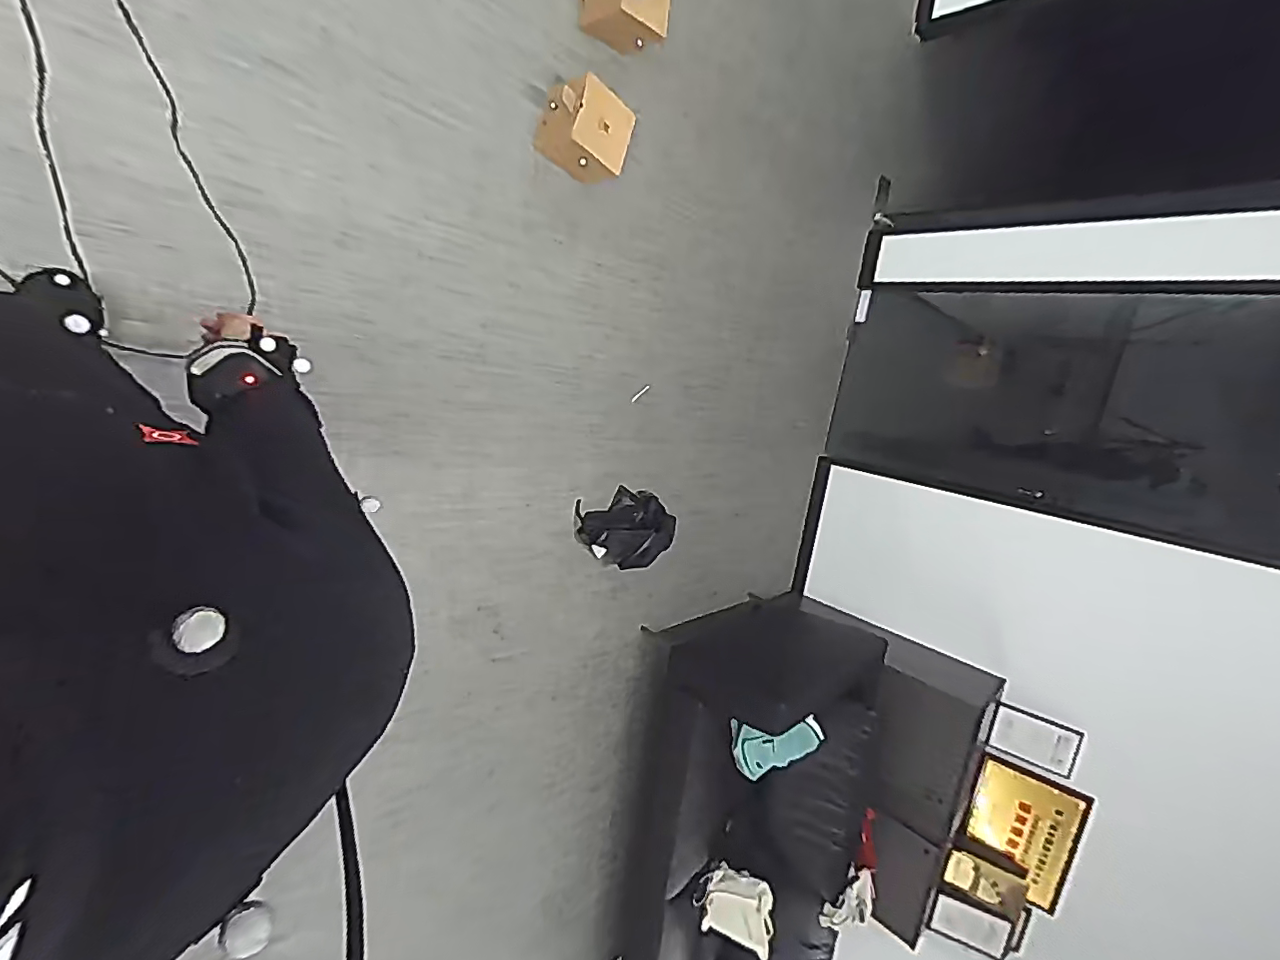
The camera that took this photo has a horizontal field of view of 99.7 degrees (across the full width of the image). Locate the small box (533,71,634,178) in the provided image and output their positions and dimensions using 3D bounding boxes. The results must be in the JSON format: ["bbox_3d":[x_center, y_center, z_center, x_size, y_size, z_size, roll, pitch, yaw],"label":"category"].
[{"bbox_3d":[-0.152,-0.929,1.435,0.179,0.176,0.168,13,95,-47],"label":"small box"}]
